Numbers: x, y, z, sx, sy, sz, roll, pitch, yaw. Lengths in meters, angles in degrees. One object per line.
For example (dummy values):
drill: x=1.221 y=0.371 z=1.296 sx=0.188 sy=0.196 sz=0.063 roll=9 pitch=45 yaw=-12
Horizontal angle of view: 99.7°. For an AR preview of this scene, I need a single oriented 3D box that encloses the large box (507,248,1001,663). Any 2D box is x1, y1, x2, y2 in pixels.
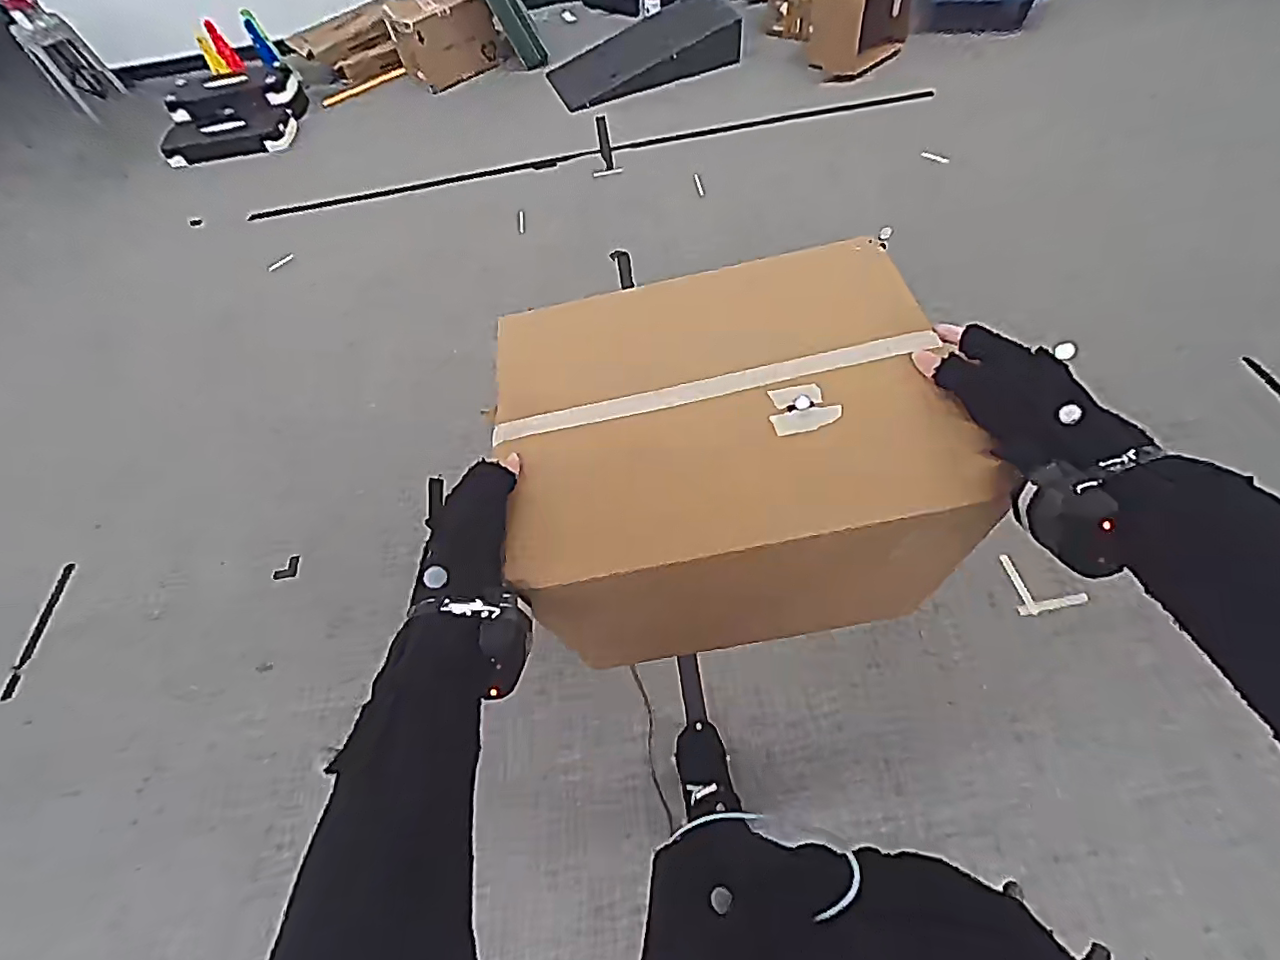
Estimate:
large box: x=0.090 y=-0.007 z=0.635 sx=0.408 sy=0.320 sz=0.320 roll=-12 pitch=59 yaw=3
